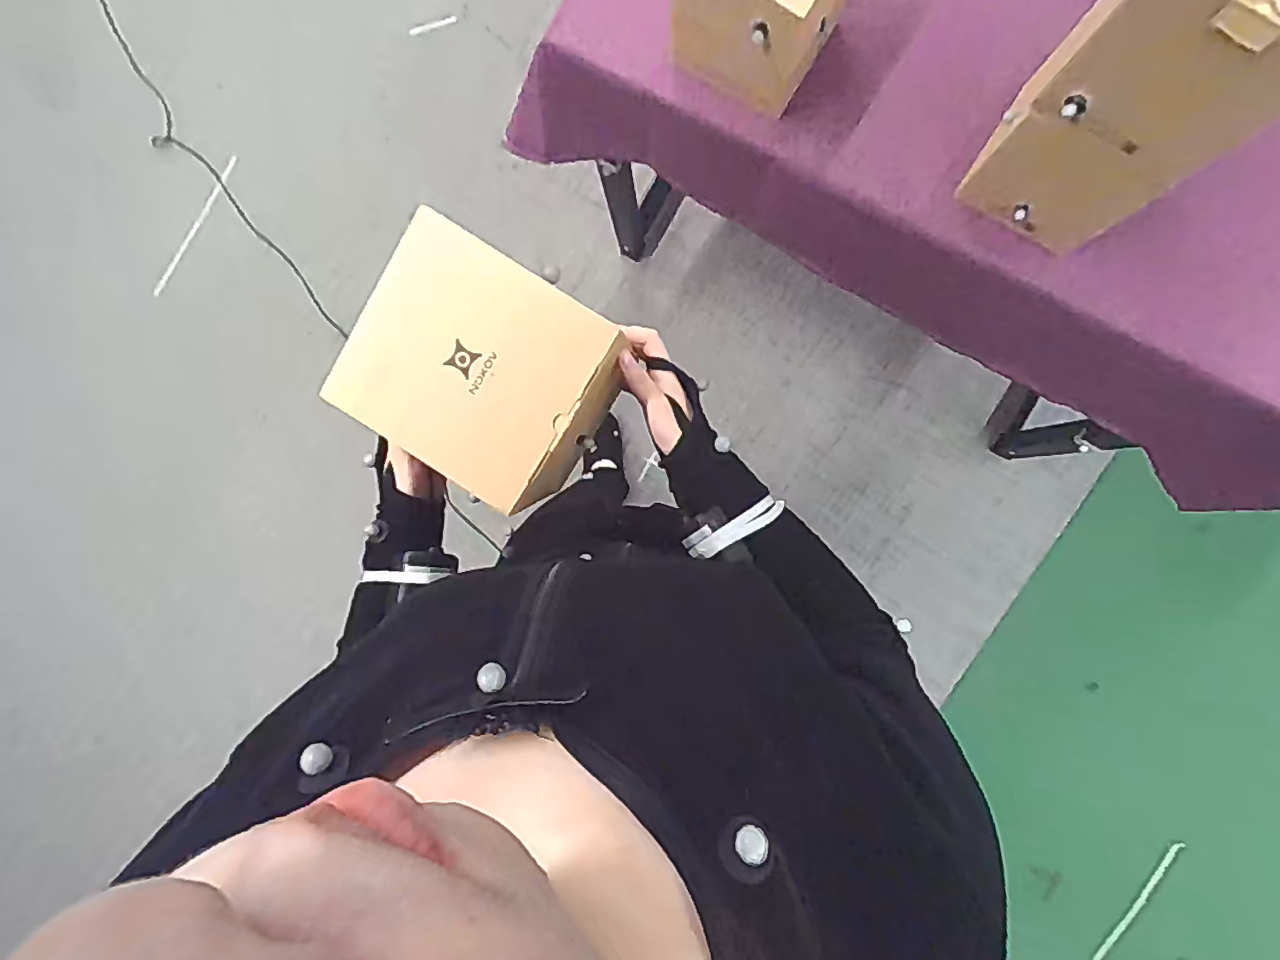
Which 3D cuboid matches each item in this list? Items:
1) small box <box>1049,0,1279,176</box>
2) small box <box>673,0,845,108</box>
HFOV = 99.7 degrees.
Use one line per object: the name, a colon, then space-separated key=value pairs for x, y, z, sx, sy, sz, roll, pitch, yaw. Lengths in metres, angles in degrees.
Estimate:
small box: x=0.512 y=-0.415 z=0.471 sx=0.168 sy=0.176 sz=0.179 roll=35 pitch=92 yaw=5
small box: x=0.155 y=-0.613 z=0.670 sx=0.179 sy=0.176 sz=0.168 roll=32 pitch=91 yaw=5
